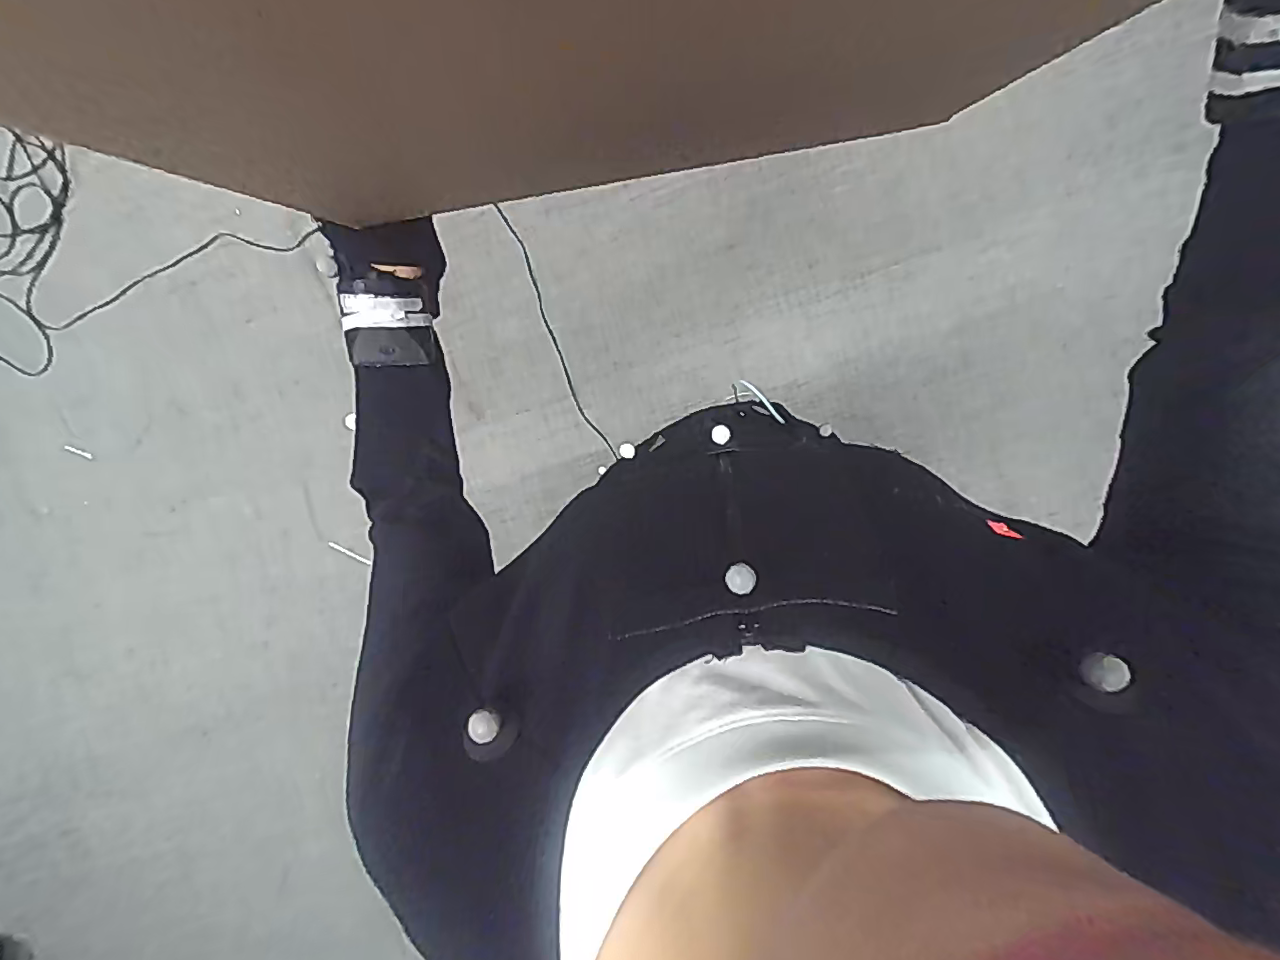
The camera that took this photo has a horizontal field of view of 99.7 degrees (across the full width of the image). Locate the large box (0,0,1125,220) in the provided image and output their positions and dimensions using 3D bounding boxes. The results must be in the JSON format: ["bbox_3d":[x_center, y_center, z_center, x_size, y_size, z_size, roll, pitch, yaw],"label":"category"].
[{"bbox_3d":[-0.006,-0.302,0.167,0.408,0.320,0.320,-11,110,-1],"label":"large box"}]
